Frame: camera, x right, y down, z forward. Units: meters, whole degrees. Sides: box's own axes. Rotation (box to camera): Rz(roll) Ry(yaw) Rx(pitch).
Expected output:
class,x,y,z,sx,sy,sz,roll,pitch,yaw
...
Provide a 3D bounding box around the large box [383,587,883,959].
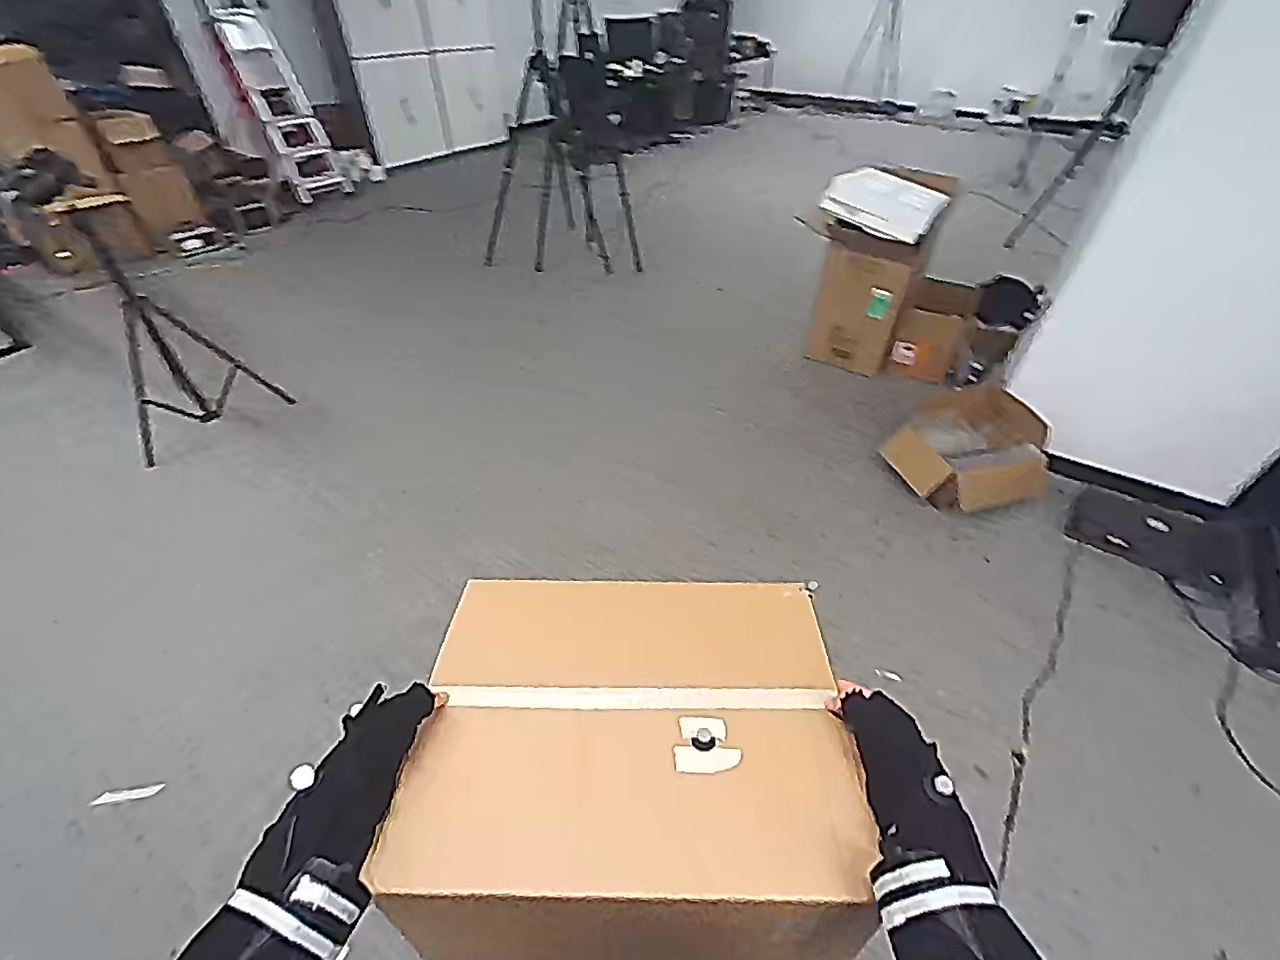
class,x,y,z,sx,sy,sz,roll,pitch,yaw
large box,-0.006,0.342,0.628,0.408,0.320,0.320,0,36,1
